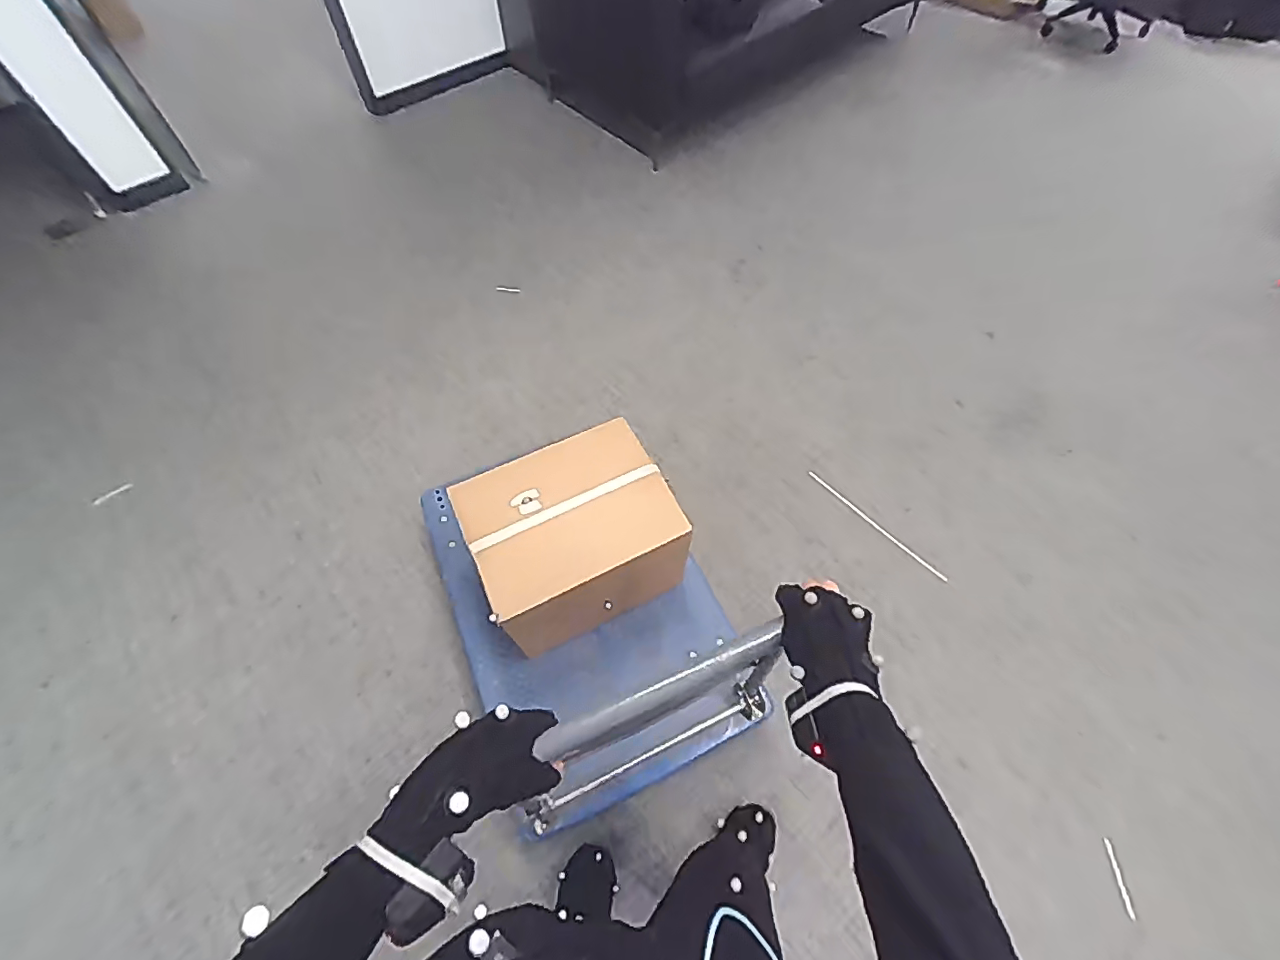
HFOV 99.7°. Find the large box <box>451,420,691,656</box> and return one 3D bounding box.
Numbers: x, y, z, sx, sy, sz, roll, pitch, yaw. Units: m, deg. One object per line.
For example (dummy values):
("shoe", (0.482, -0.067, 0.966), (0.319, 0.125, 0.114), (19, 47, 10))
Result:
("large box", (-0.141, 0.136, 1.209), (0.408, 0.320, 0.320), (-25, 63, -14))
